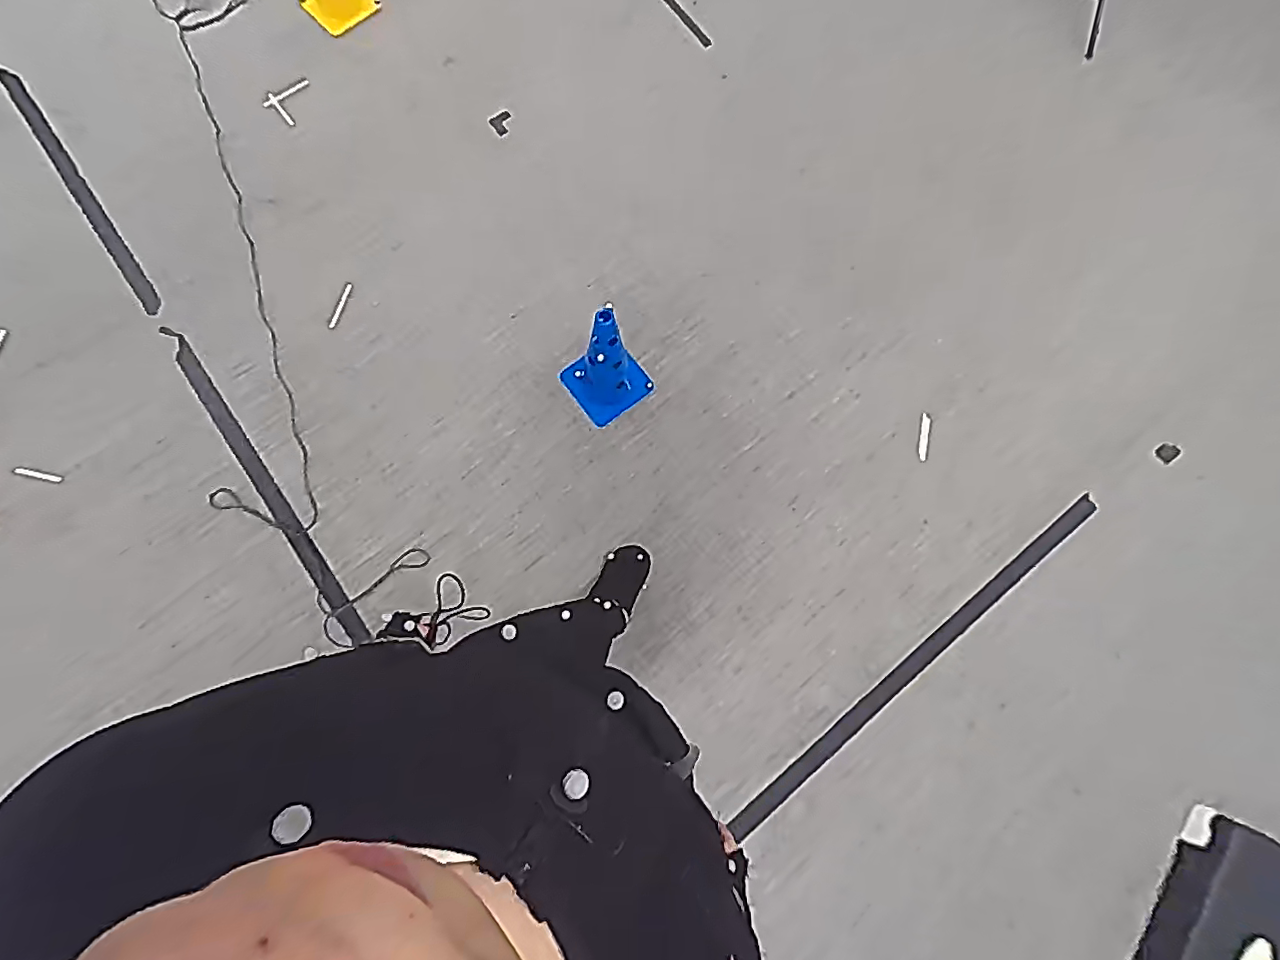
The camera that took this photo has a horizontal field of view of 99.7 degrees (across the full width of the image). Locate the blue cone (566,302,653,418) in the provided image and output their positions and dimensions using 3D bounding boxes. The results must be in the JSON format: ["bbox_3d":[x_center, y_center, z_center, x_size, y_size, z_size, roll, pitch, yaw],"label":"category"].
[{"bbox_3d":[-0.076,-0.313,1.315,0.192,0.380,0.193,-35,82,-10],"label":"blue cone"}]
